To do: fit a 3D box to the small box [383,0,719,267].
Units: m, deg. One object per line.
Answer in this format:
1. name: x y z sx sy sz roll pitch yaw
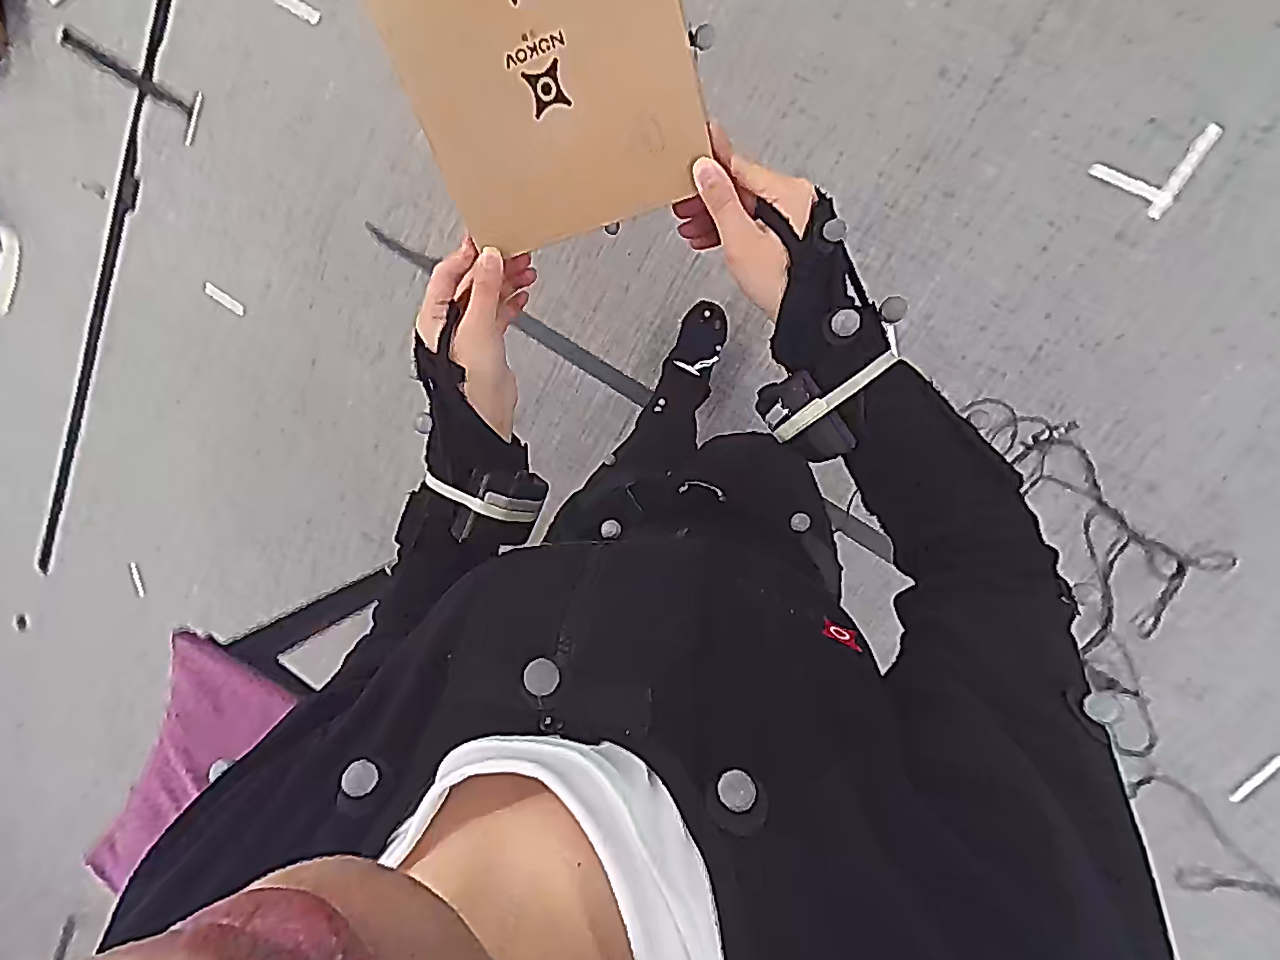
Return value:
1. small box: -0.040 -0.276 0.379 0.168 0.176 0.179 -11 121 14
